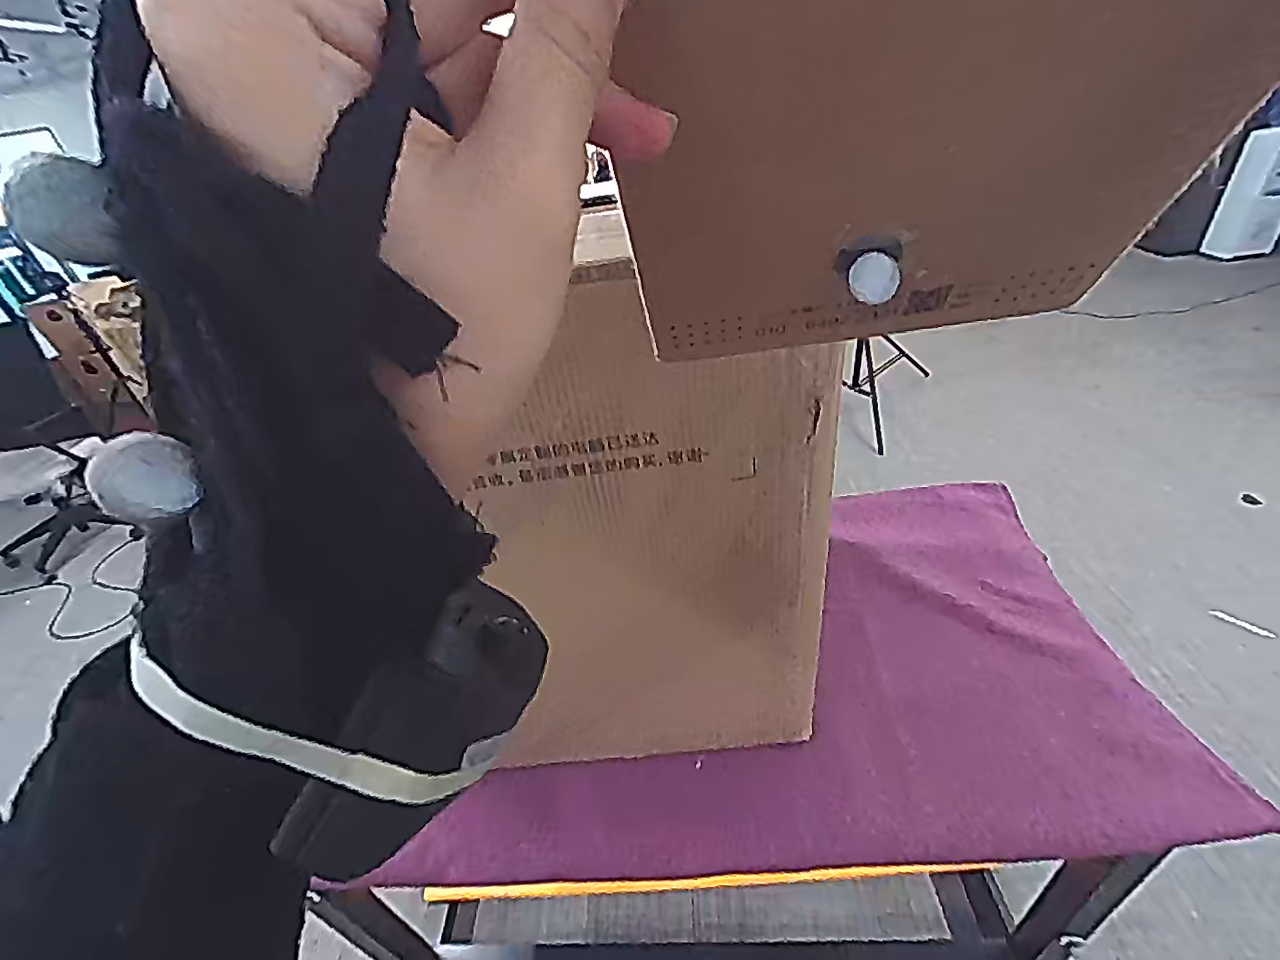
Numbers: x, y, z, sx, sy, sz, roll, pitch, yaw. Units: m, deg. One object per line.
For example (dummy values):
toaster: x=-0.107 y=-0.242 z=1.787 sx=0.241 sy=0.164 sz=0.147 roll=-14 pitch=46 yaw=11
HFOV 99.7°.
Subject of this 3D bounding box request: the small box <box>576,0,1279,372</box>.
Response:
small box: x=0.071 y=-0.161 z=0.184 sx=0.168 sy=0.176 sz=0.179 roll=-6 pitch=70 yaw=9
